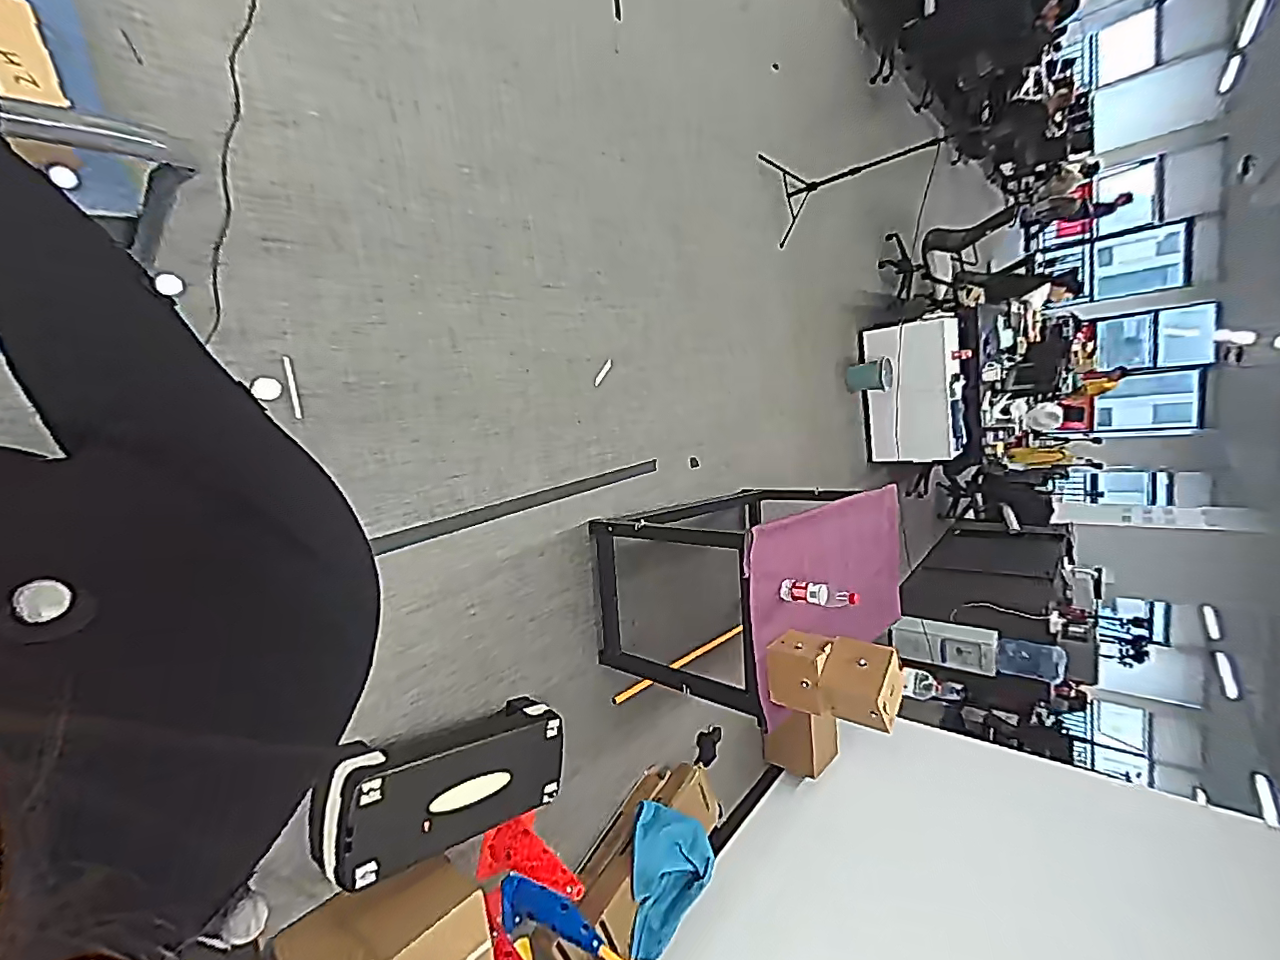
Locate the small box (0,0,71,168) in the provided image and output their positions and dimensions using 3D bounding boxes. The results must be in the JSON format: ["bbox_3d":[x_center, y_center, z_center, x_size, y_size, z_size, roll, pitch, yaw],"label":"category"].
[{"bbox_3d":[-0.983,-0.583,0.792,0.179,0.176,0.168,-23,107,-45],"label":"small box"}]
